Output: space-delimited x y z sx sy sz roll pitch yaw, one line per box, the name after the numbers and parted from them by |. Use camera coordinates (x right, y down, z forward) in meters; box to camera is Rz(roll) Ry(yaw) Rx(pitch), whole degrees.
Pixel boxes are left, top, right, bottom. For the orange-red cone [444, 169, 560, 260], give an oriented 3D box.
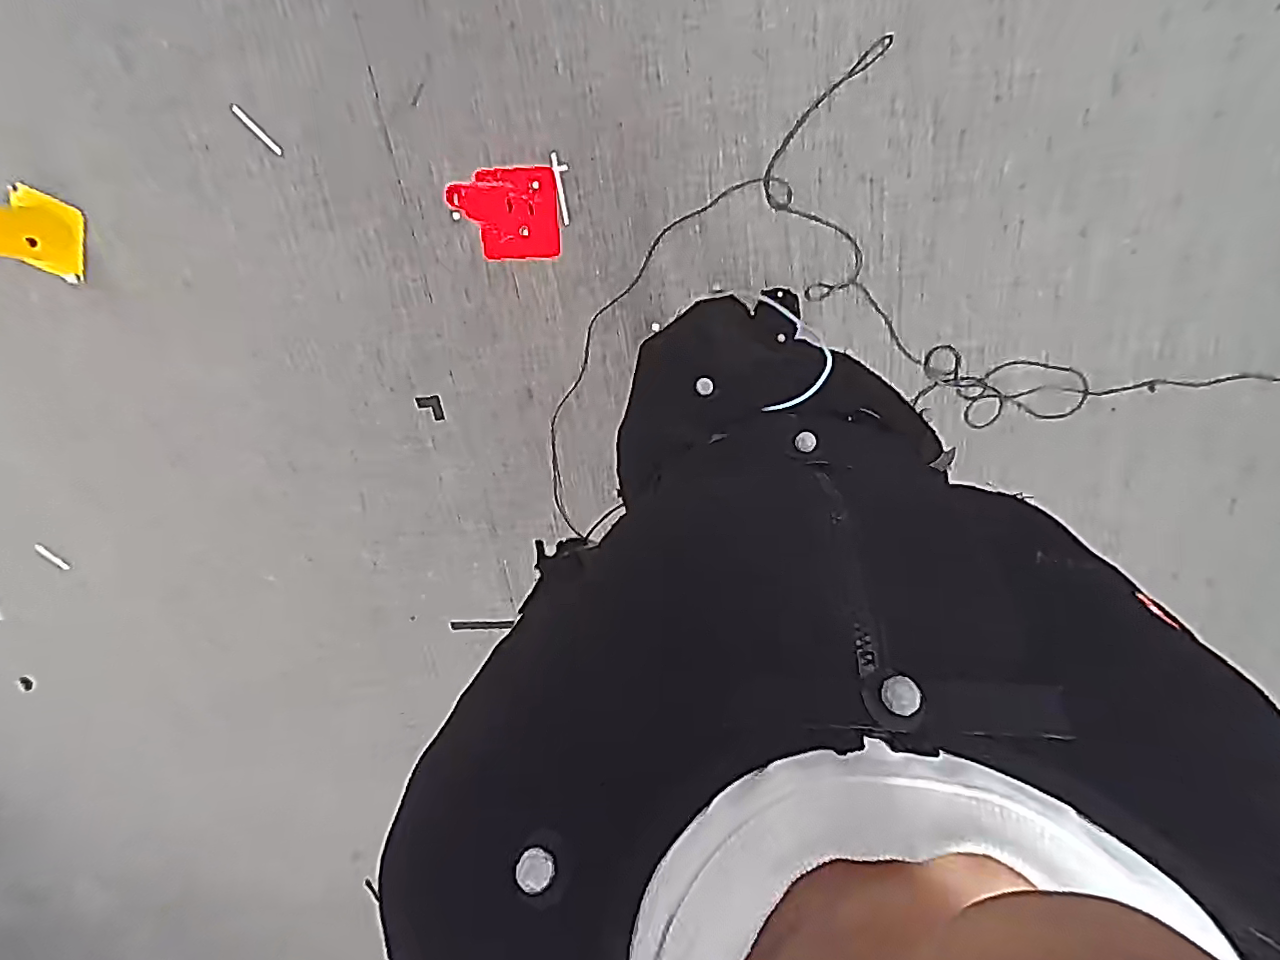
-0.313 -0.573 1.132 0.199 0.360 0.198 2 110 8 | orange-red cone
